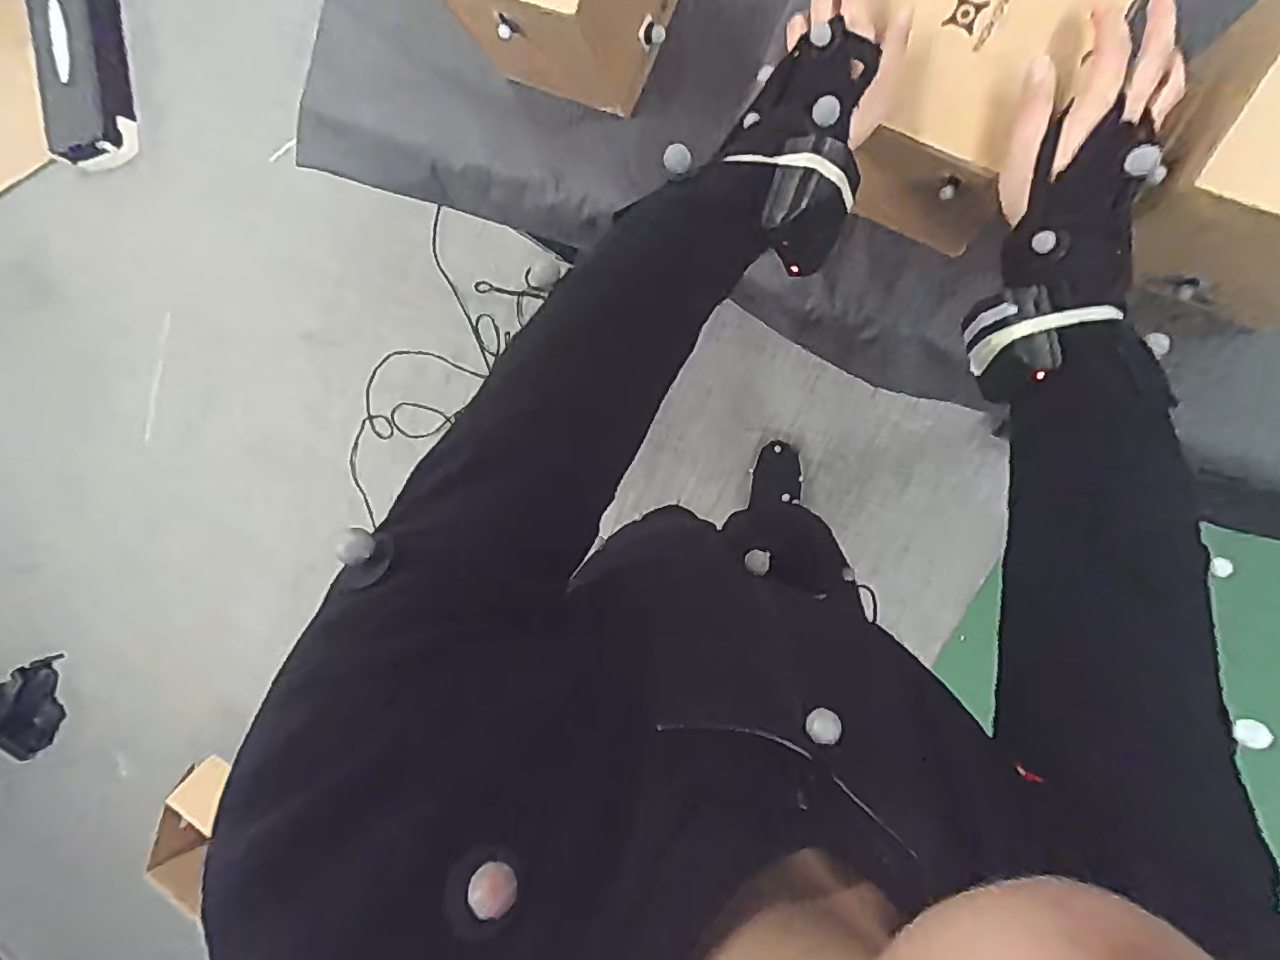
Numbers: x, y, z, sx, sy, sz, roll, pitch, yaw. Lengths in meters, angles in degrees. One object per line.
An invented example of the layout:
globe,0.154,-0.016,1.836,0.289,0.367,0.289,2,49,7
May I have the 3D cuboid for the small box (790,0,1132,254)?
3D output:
small box,0.241,-0.315,0.446,0.179,0.176,0.168,31,102,11
